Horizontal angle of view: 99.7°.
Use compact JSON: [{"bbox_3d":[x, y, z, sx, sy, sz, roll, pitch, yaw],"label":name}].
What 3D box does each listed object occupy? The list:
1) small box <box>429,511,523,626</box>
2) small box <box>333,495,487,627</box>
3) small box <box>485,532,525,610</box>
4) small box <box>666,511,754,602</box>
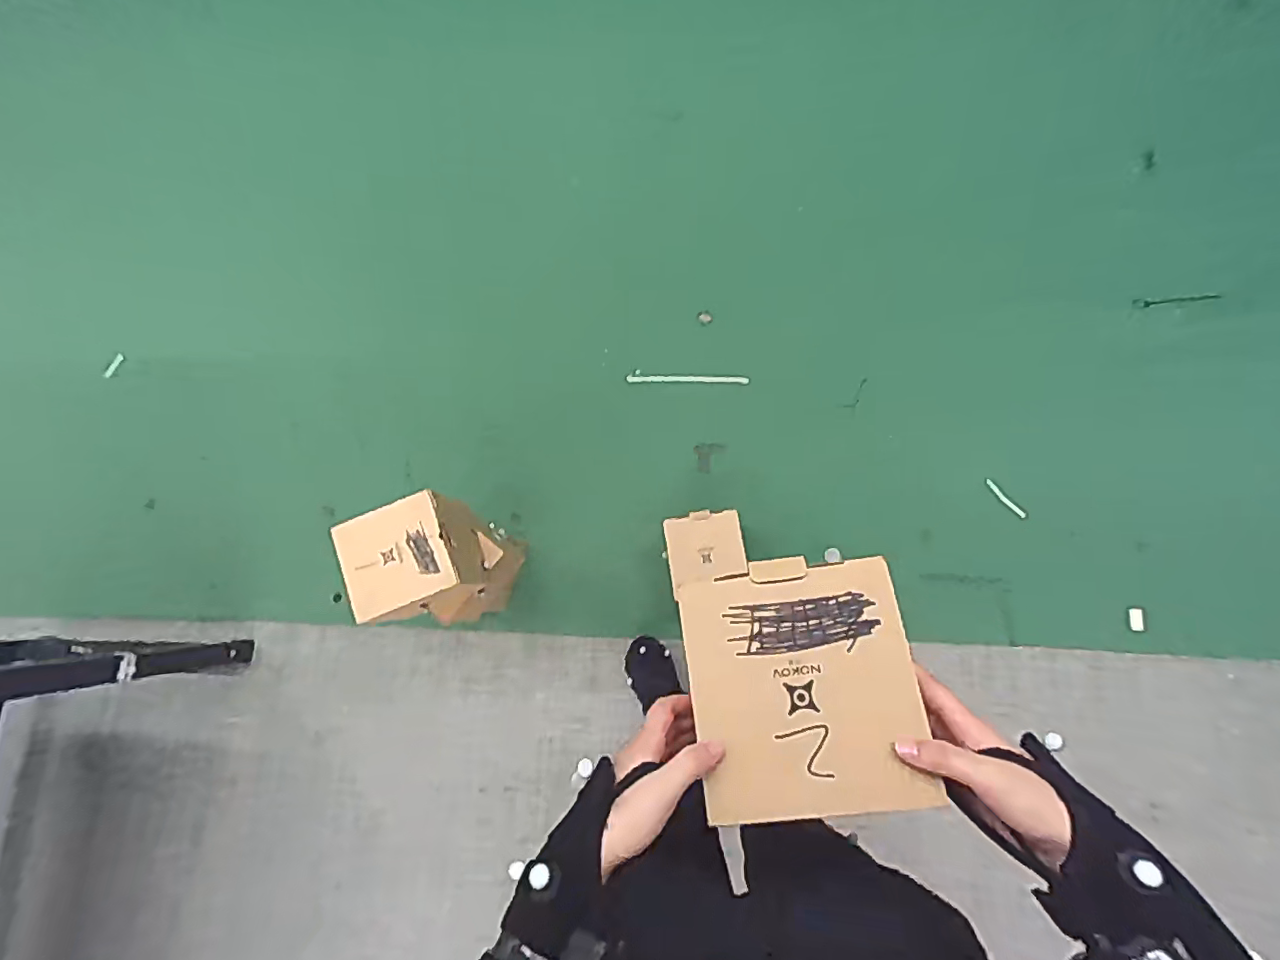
[{"bbox_3d":[-0.363,0.172,1.096,0.168,0.176,0.179,38,82,9],"label":"small box"},{"bbox_3d":[-0.382,0.139,0.936,0.179,0.176,0.168,-22,79,0],"label":"small box"},{"bbox_3d":[-0.385,0.198,1.257,0.168,0.176,0.179,17,80,6],"label":"small box"},{"bbox_3d":[0.151,0.178,1.227,0.168,0.176,0.179,-8,77,1],"label":"small box"}]
